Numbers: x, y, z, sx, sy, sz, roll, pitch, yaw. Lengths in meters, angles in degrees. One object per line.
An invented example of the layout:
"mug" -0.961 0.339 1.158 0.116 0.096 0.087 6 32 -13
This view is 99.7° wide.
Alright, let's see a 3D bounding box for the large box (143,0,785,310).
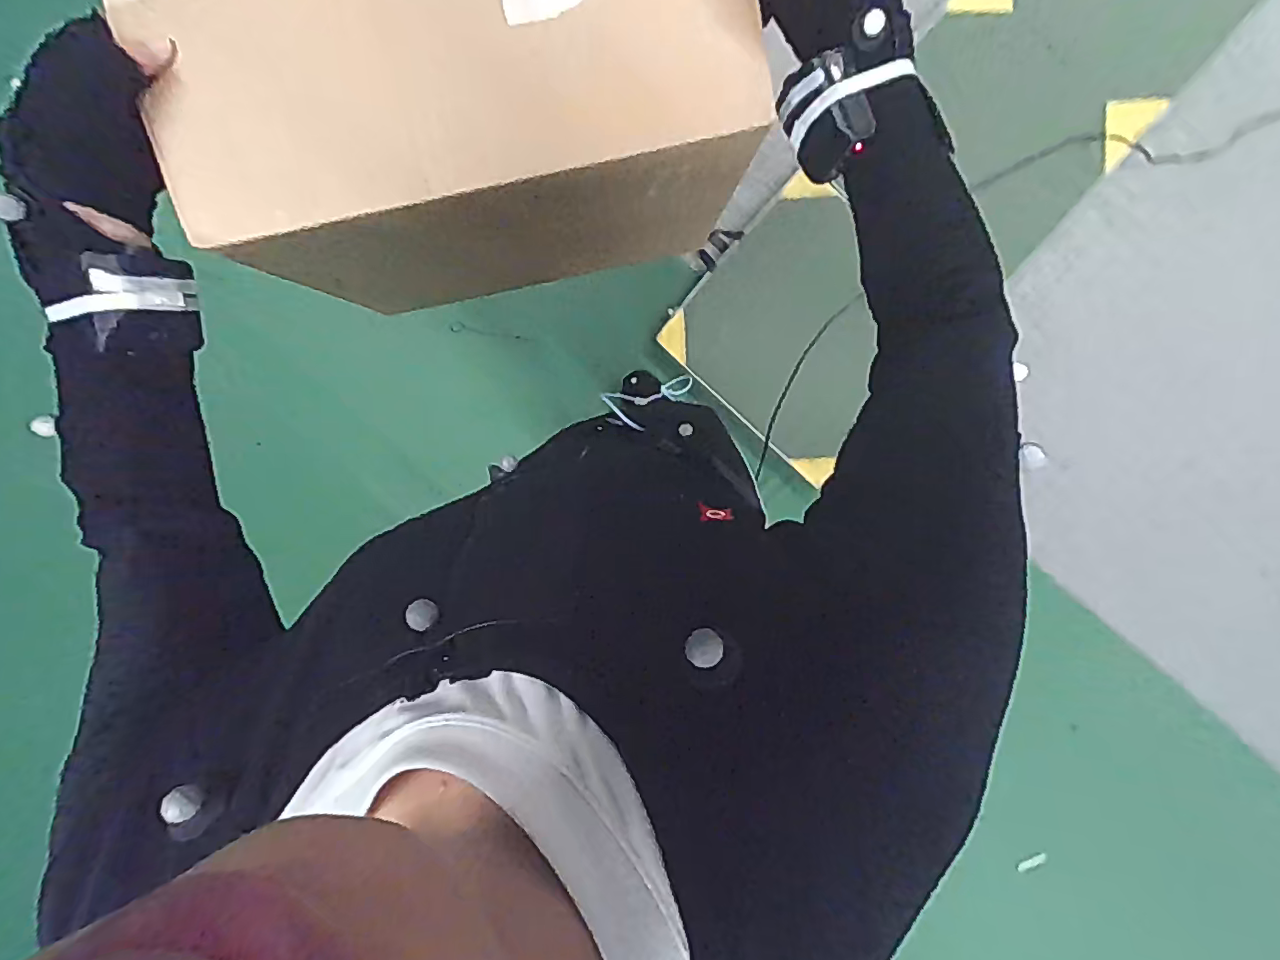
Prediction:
"large box" -0.134 -0.376 0.495 0.408 0.320 0.320 -13 99 -2
